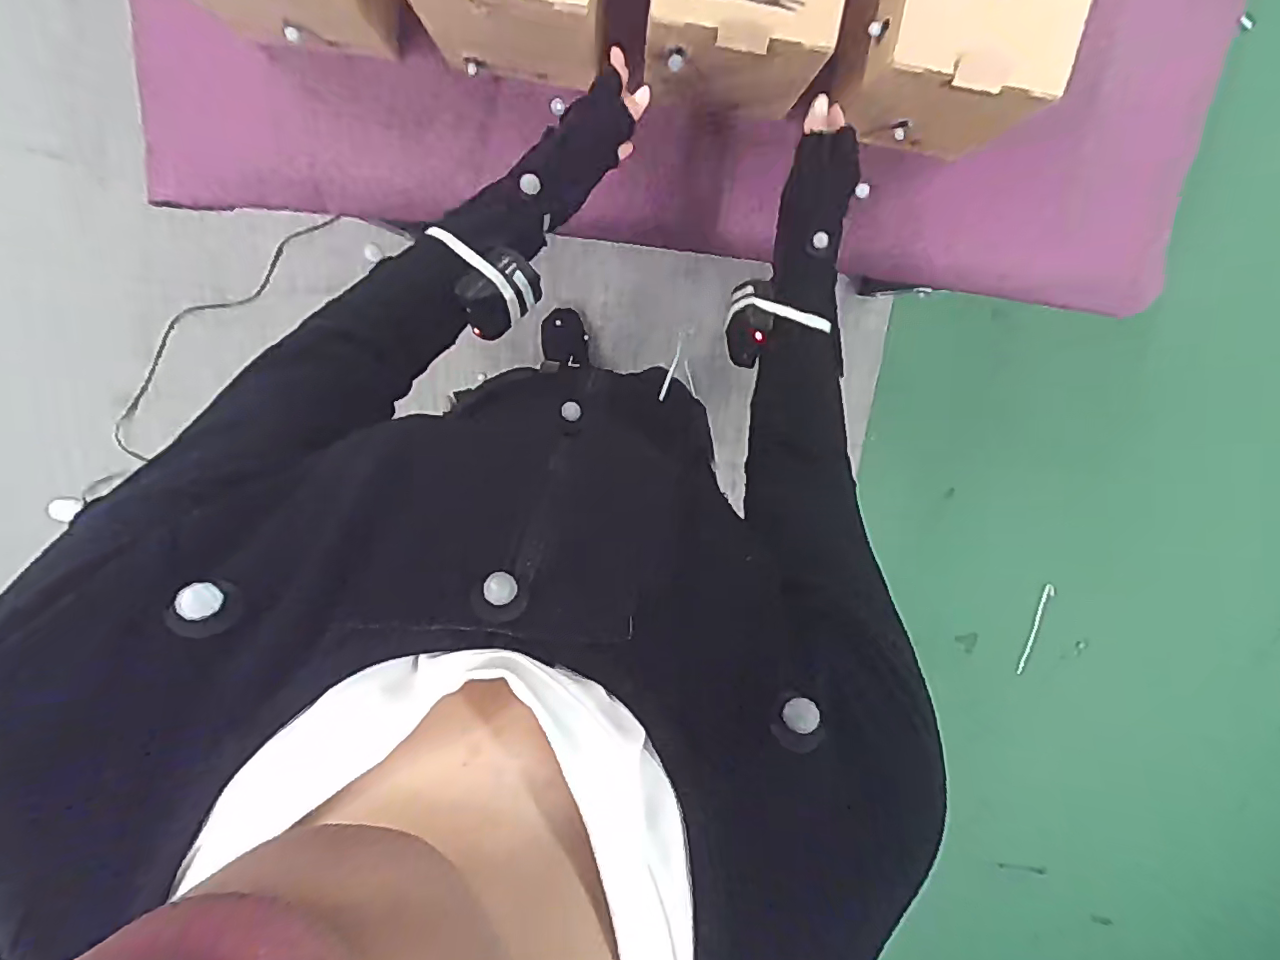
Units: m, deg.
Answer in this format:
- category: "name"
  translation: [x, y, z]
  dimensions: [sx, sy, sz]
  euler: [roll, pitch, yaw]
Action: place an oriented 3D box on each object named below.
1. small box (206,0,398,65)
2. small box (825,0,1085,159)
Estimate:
- category: "small box"
  translation: [-0.335, -0.531, 0.496]
  dimensions: [0.168, 0.176, 0.179]
  euler: [6, 105, -4]
- category: "small box"
  translation: [0.308, -0.459, 0.547]
  dimensions: [0.168, 0.176, 0.179]
  euler: [8, 104, -5]
